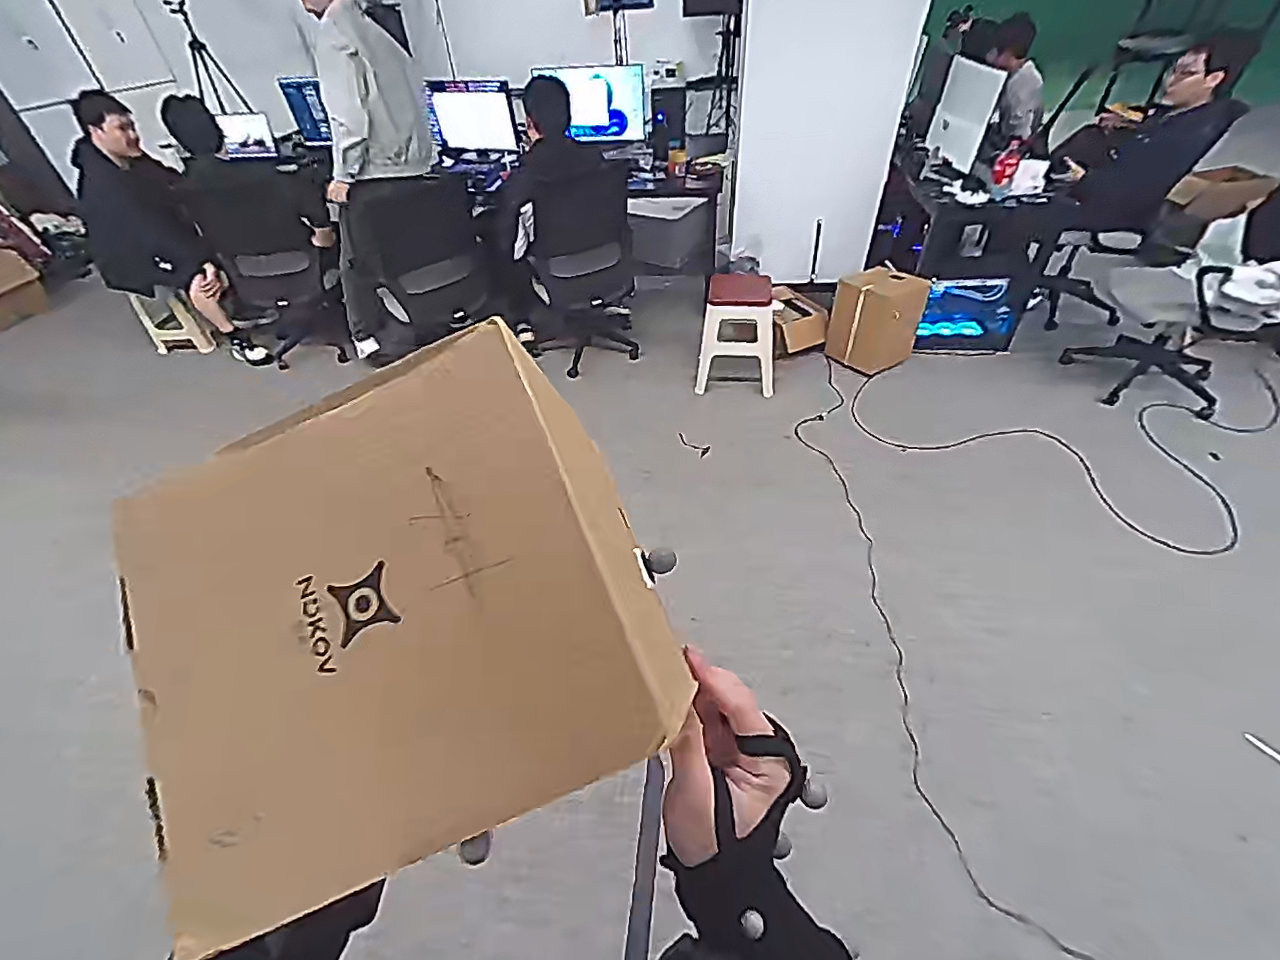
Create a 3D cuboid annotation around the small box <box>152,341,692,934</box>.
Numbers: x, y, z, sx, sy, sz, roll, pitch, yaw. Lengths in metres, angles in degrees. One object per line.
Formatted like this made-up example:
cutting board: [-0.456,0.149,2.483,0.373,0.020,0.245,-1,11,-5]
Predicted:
small box: [-0.085,0.069,0.280,0.179,0.176,0.168,-27,73,0]
